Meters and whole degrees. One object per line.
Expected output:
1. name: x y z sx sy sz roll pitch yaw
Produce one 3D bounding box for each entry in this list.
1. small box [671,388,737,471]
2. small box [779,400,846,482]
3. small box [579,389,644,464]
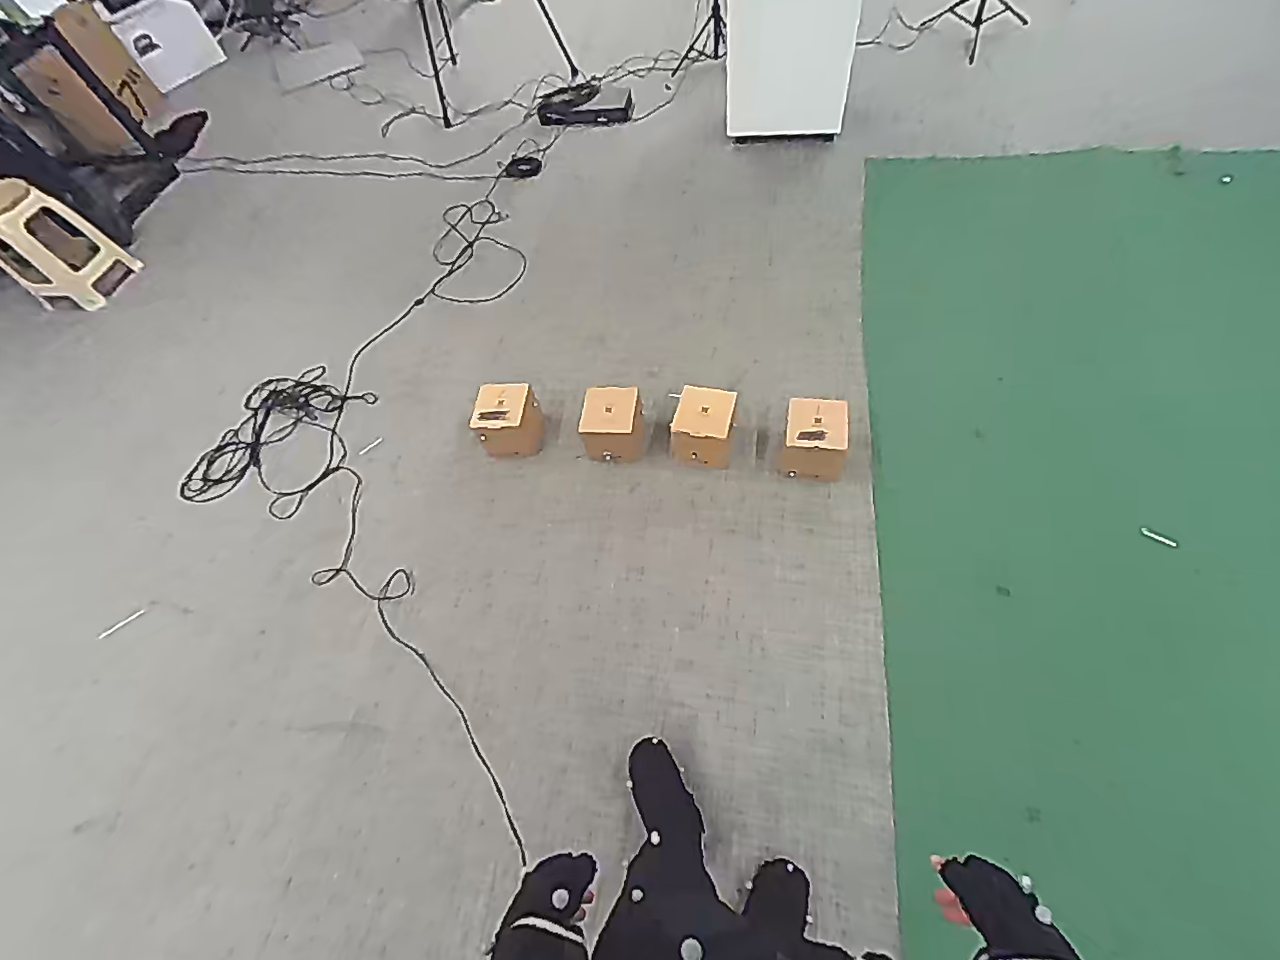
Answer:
1. small box: 0.197 -0.155 1.665 0.168 0.176 0.179 10 62 14
2. small box: 0.506 -0.112 1.595 0.168 0.176 0.179 6 60 12
3. small box: -0.084 -0.168 1.713 0.168 0.176 0.179 1 61 11
